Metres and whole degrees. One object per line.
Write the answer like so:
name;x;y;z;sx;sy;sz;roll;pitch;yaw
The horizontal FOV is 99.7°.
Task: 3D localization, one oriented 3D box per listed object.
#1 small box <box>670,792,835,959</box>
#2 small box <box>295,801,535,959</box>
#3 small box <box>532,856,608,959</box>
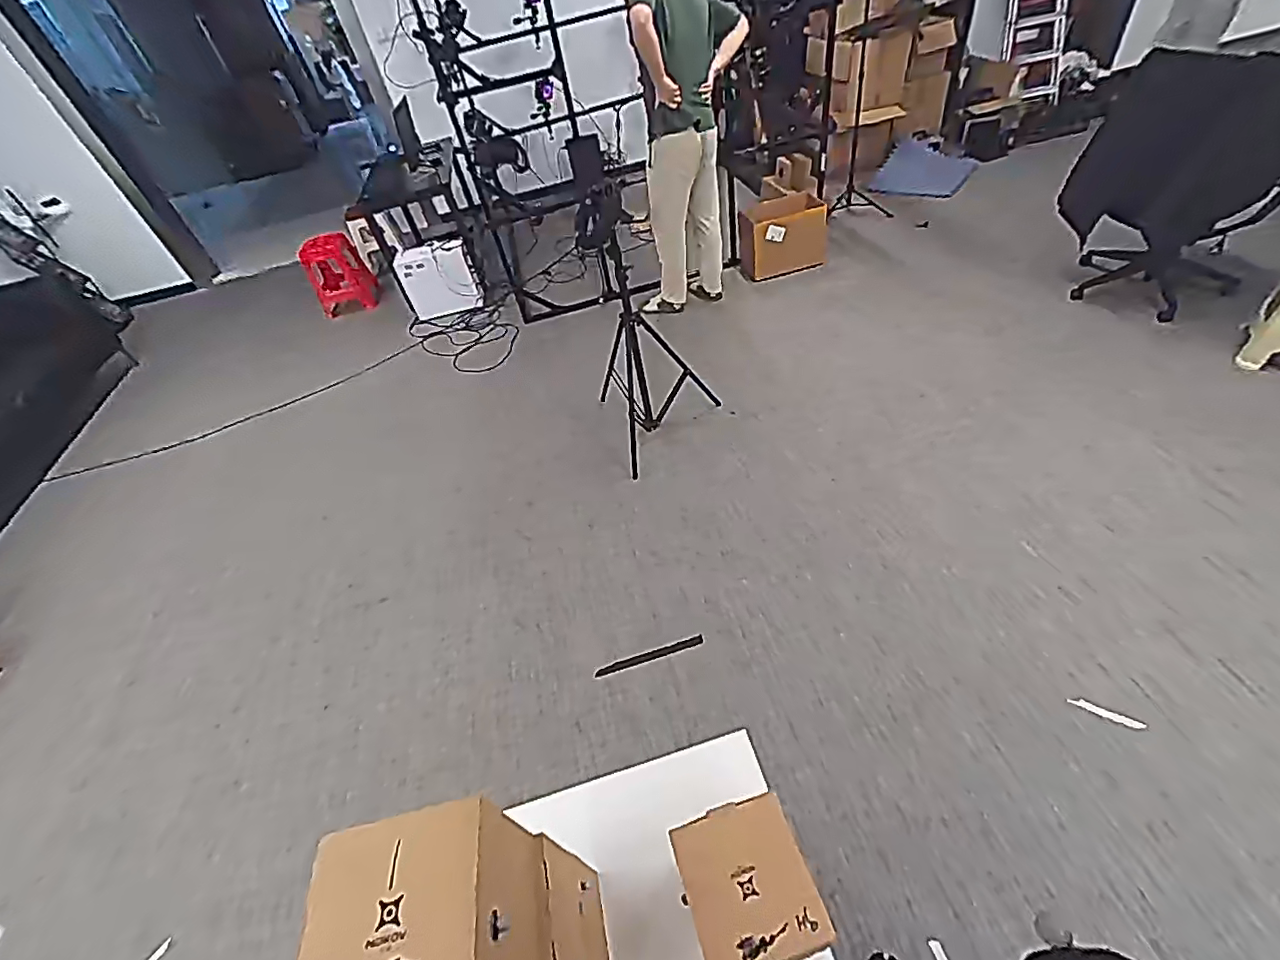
small box;0.154;0.586;0.768;0.168;0.176;0.179;-20;45;-4
small box;-0.205;0.448;0.526;0.168;0.176;0.179;-14;44;0
small box;-0.143;0.669;0.762;0.168;0.176;0.179;-16;45;-3
